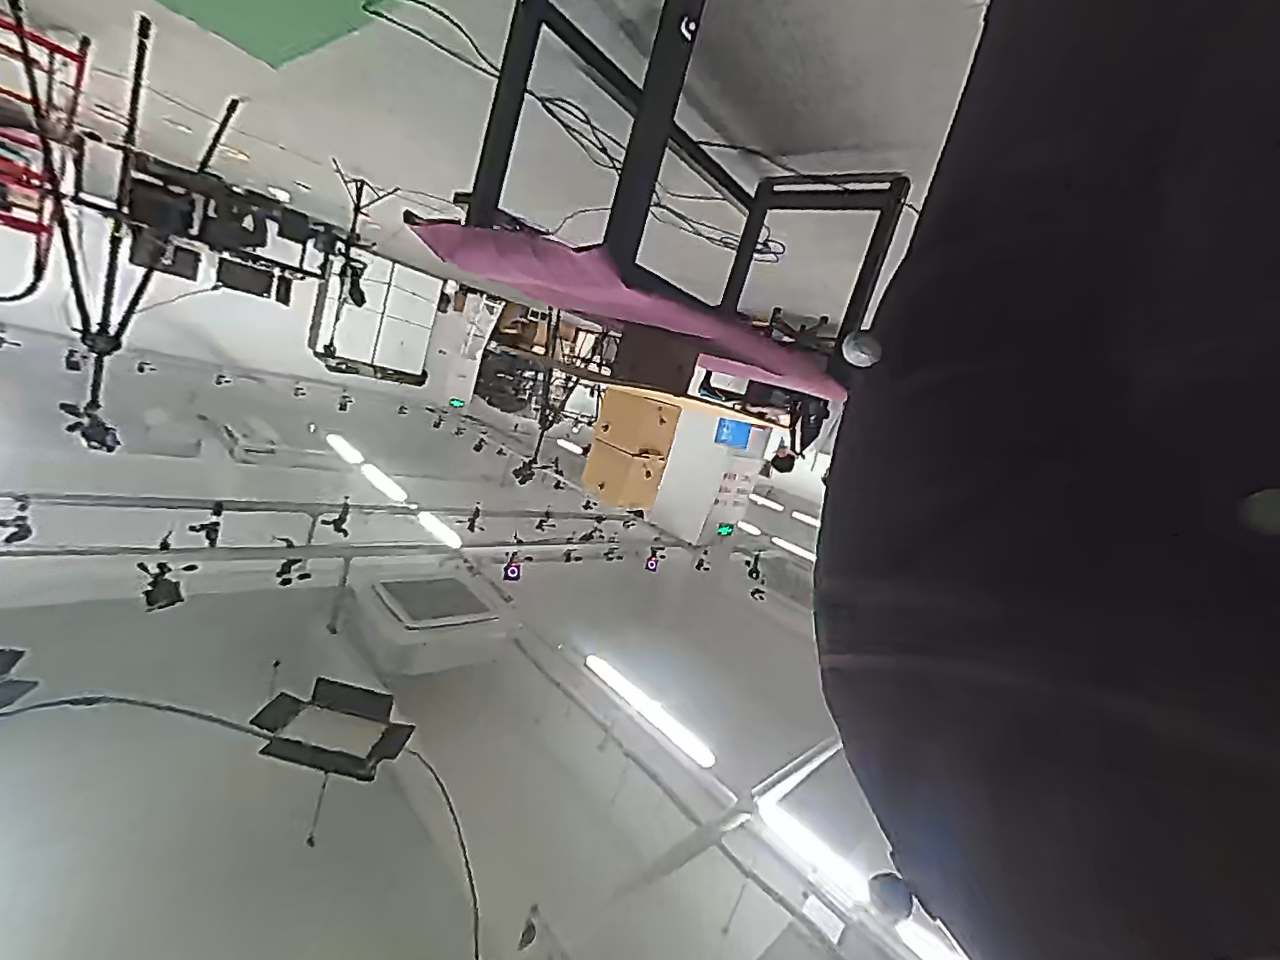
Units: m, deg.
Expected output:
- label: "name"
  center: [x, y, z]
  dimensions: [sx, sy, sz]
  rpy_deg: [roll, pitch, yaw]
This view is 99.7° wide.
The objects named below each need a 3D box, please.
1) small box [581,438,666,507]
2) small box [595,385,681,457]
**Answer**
- label: "small box"
  center: [-0.047, -0.028, 1.661]
  dimensions: [0.179, 0.176, 0.168]
  rpy_deg: [26, -167, 39]
- label: "small box"
  center: [-0.003, -0.183, 1.634]
  dimensions: [0.179, 0.176, 0.168]
  rpy_deg: [26, -166, 37]
